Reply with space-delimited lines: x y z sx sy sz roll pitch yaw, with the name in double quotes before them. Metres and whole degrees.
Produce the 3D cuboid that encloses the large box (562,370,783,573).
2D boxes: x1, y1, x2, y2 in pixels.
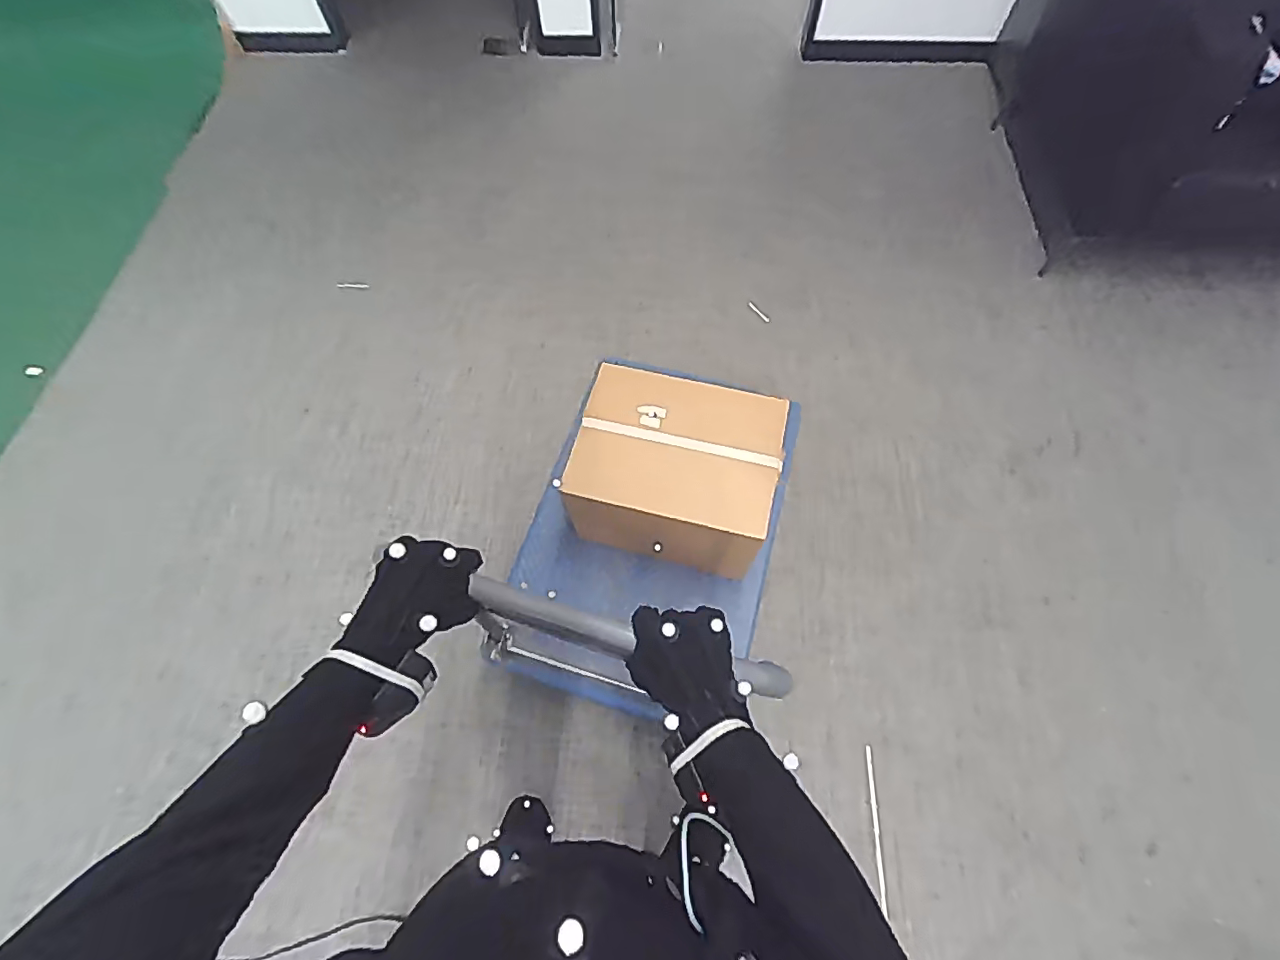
"large box" 0.079 -0.007 1.225 0.408 0.320 0.320 12 66 8
